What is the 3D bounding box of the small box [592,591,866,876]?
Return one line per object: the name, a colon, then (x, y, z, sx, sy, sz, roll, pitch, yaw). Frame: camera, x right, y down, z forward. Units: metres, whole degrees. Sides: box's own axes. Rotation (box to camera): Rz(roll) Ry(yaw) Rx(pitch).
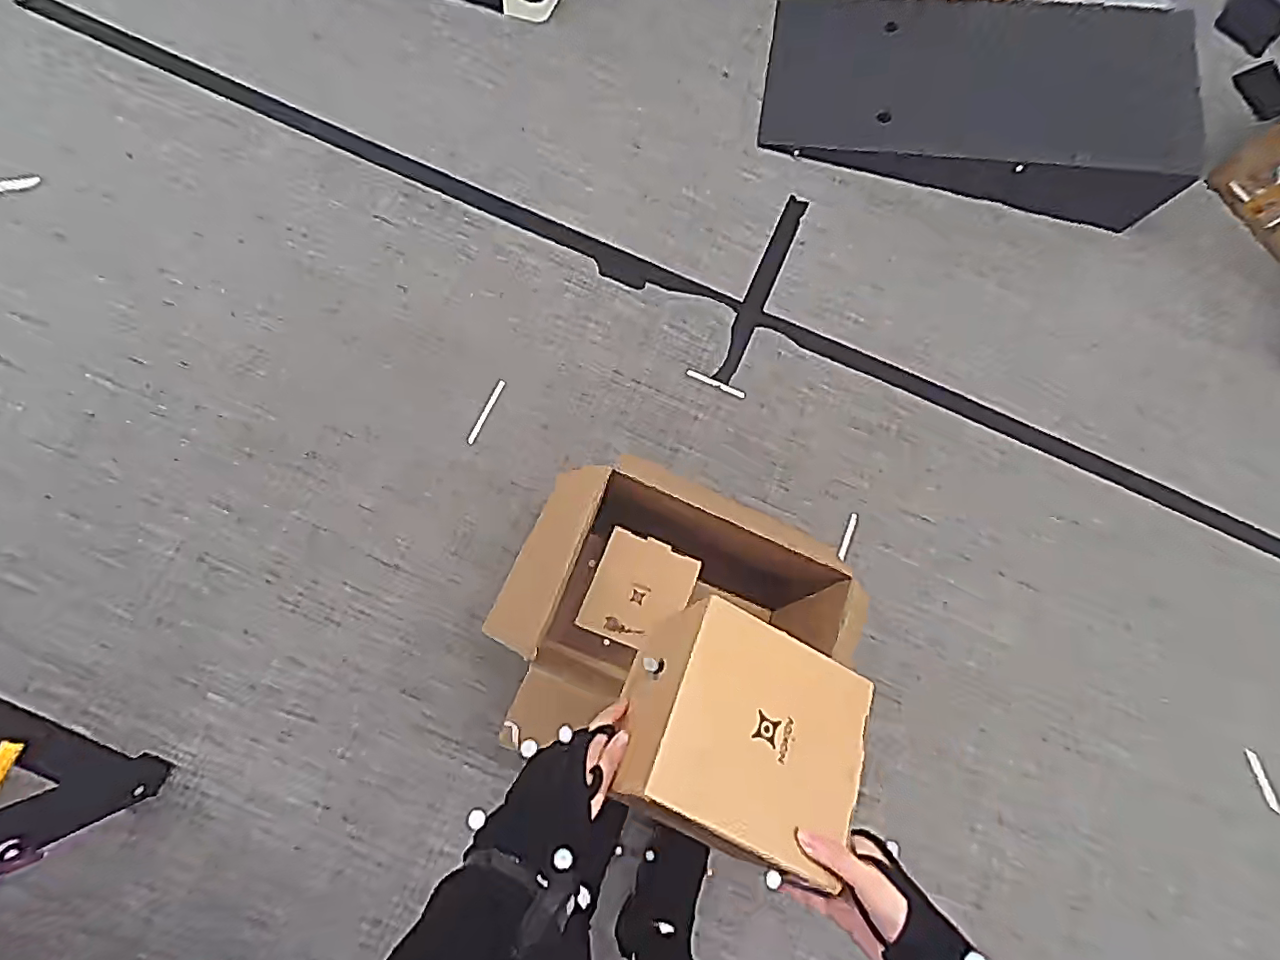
small box: (0.076, 0.233, 0.511, 0.179, 0.176, 0.168, 30, 59, -7)
